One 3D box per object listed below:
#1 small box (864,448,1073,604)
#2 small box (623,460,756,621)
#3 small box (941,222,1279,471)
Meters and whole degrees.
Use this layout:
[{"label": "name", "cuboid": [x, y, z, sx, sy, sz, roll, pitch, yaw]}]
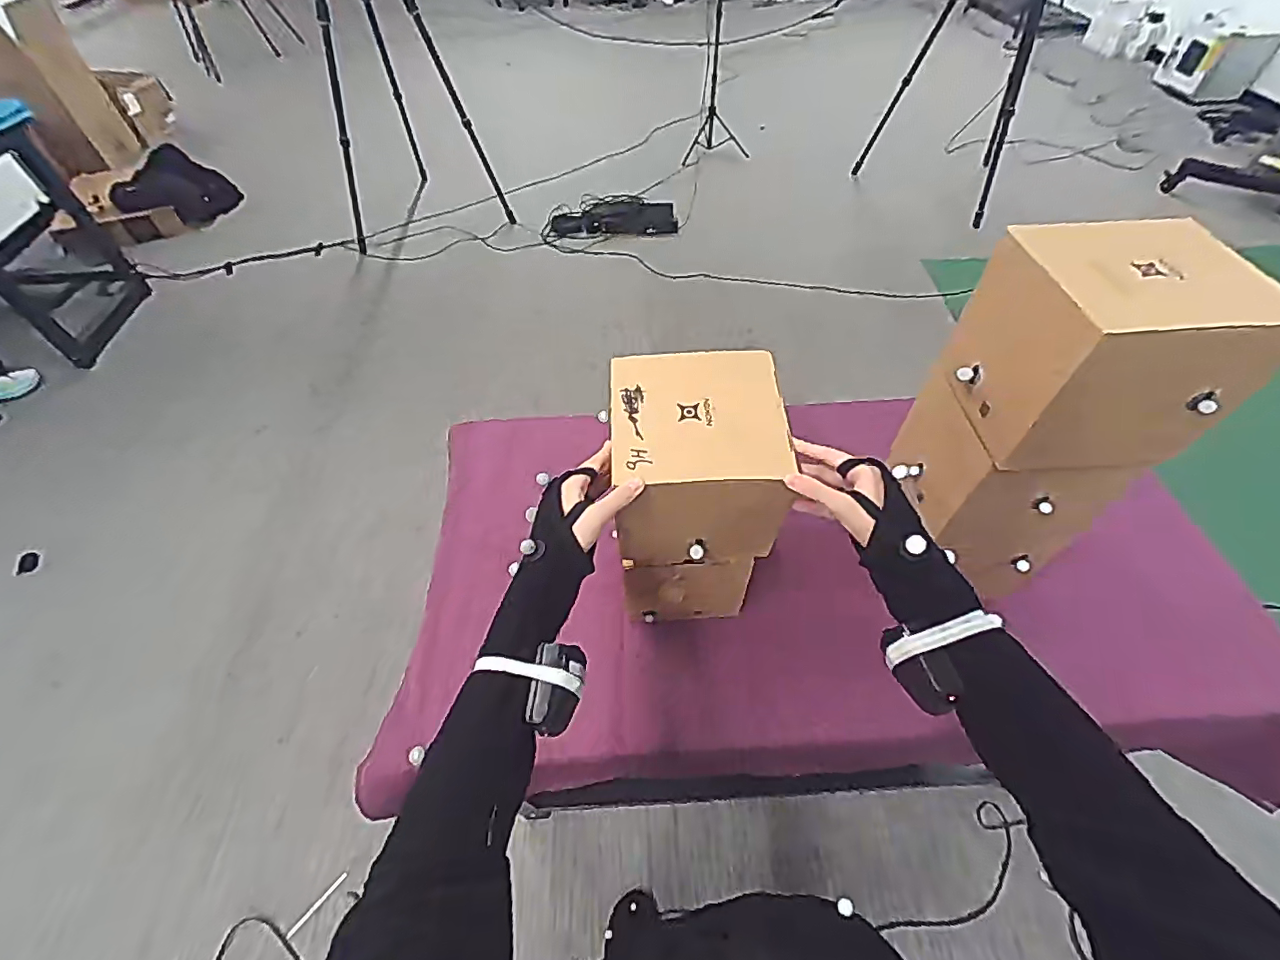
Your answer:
[{"label": "small box", "cuboid": [0.455, 0.070, 0.783, 0.179, 0.176, 0.168, -2, 51, 0]}, {"label": "small box", "cuboid": [0.063, 0.093, 0.780, 0.168, 0.176, 0.179, -3, 51, -1]}, {"label": "small box", "cuboid": [0.433, -0.123, 0.518, 0.179, 0.176, 0.168, -3, 51, 0]}]
